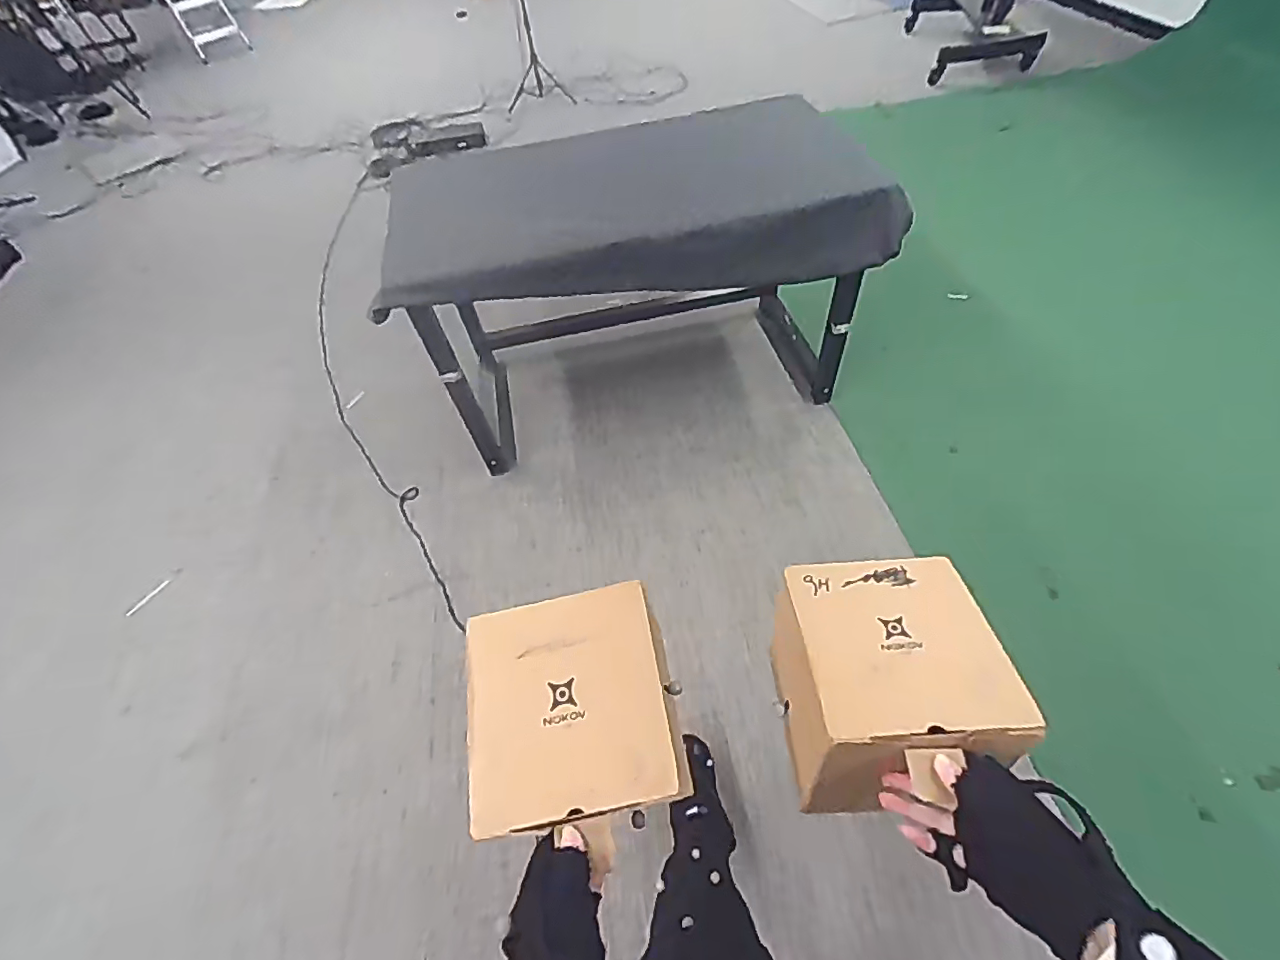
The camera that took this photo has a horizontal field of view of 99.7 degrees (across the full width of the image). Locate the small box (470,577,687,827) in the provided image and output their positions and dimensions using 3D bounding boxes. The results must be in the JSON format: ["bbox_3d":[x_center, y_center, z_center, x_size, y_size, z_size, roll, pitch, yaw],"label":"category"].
[{"bbox_3d":[-0.054,0.219,0.533,0.168,0.176,0.179,-14,60,1],"label":"small box"}]
